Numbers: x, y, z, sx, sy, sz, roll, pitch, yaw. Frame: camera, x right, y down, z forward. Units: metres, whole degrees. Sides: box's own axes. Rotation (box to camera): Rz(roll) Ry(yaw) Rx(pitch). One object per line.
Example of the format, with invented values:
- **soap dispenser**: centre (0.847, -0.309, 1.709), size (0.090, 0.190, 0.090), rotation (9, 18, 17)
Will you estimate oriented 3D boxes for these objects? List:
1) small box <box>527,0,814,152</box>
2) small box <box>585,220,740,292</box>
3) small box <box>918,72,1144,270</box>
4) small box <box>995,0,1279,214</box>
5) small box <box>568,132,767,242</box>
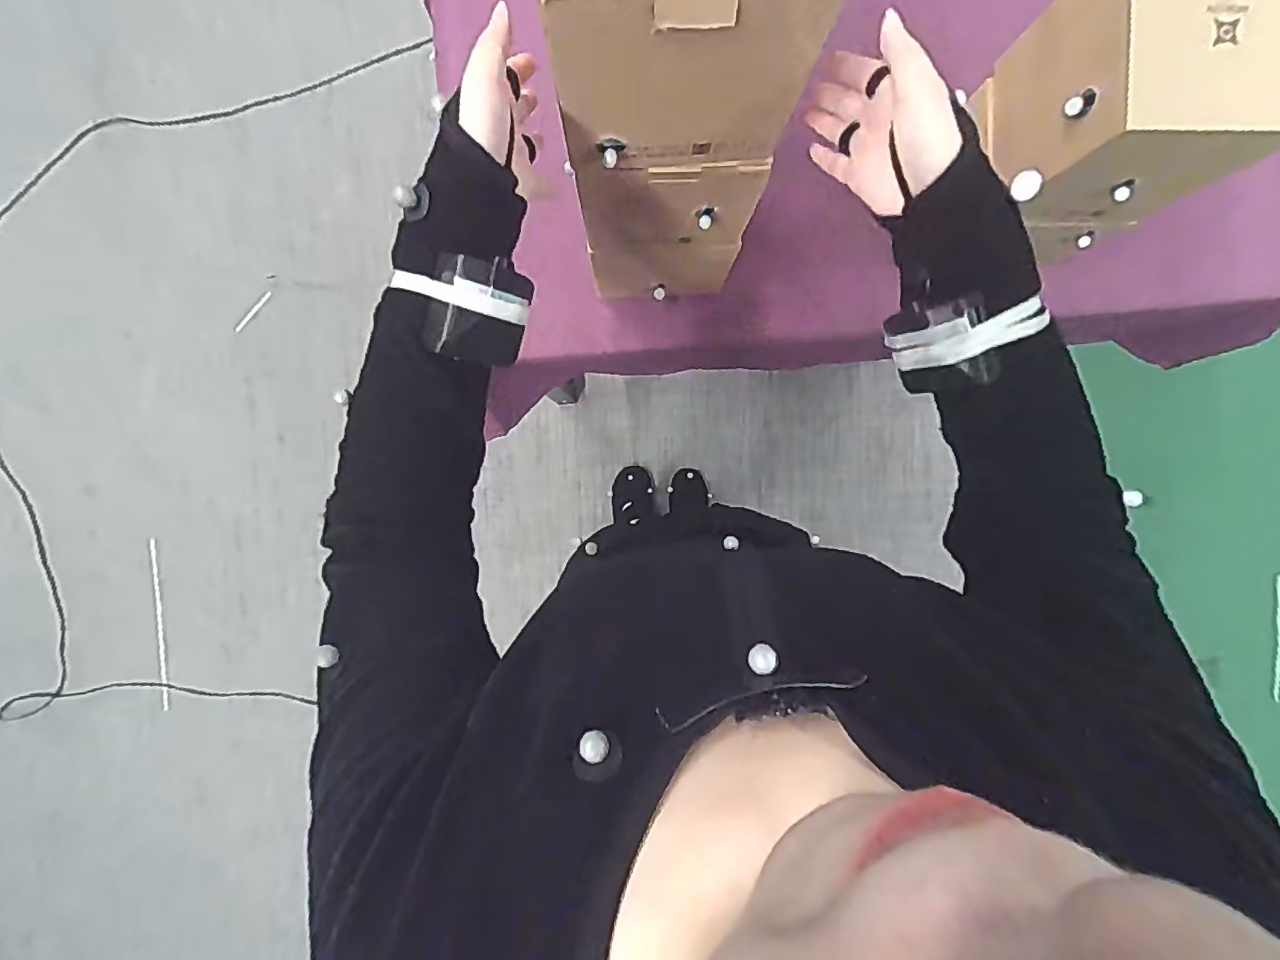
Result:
- **small box**: centre (0.016, -0.343, 0.354), size (0.168, 0.176, 0.179), rotation (-4, 91, -1)
- **small box**: centre (0.021, -0.345, 0.682), size (0.179, 0.176, 0.168), rotation (-3, 92, 0)
- **small box**: centre (0.473, -0.376, 0.681), size (0.179, 0.176, 0.168), rotation (-2, 92, 0)
- **small box**: centre (0.472, -0.375, 0.516), size (0.168, 0.176, 0.179), rotation (0, 92, -1)
- **small box**: centre (0.023, -0.344, 0.518), size (0.168, 0.176, 0.179), rotation (-1, 91, 0)
